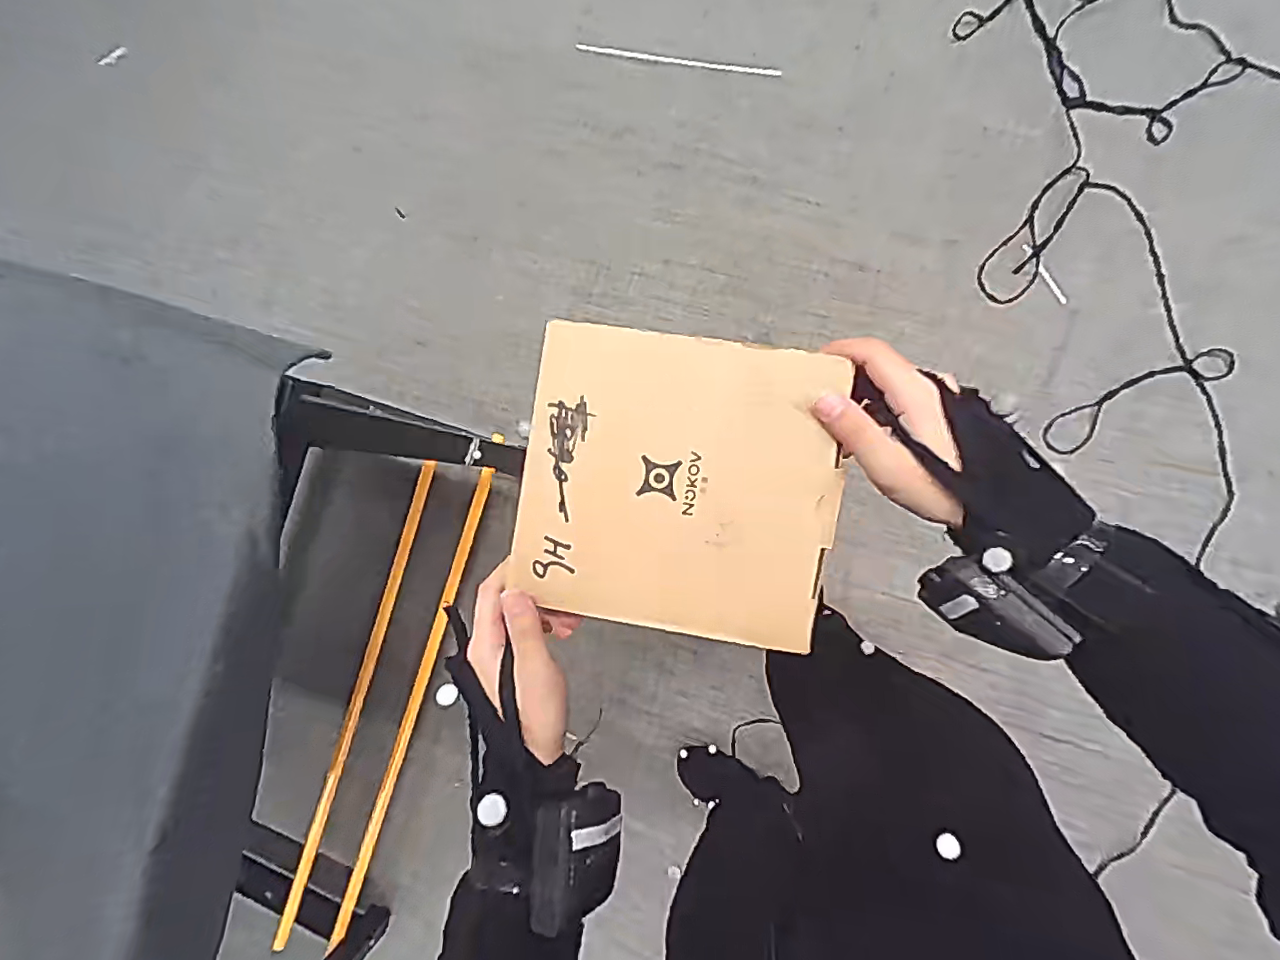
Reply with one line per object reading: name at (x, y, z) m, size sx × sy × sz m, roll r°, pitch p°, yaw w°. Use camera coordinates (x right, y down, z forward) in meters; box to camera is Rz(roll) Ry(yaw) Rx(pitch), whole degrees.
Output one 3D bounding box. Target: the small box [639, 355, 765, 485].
small box at (0.111, -0.094, 0.938) m, size 0.168 × 0.176 × 0.179 m, roll 16°, pitch 90°, yaw 9°
